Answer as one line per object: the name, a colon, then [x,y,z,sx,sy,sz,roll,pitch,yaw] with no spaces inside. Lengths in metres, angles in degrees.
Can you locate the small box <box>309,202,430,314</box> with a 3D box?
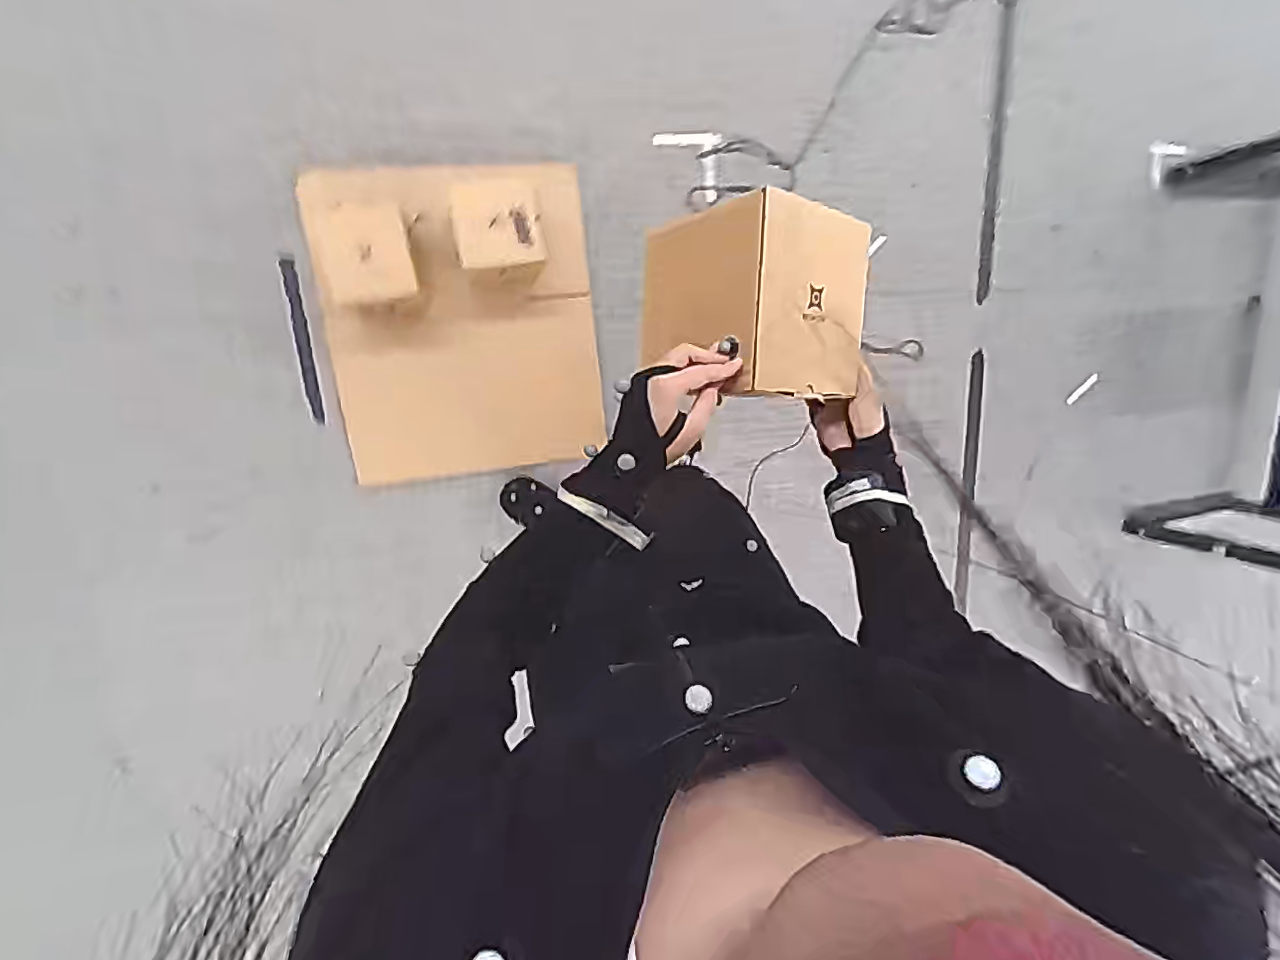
small box: [-0.557,-0.459,1.136,0.168,0.176,0.179,-13,104,-10]

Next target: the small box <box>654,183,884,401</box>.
small box: [0.129,-0.176,0.568,0.168,0.176,0.179,-4,101,-37]

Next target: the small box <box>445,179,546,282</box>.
small box: [-0.313,-0.538,1.180,0.179,0.176,0.168,-12,103,-11]
